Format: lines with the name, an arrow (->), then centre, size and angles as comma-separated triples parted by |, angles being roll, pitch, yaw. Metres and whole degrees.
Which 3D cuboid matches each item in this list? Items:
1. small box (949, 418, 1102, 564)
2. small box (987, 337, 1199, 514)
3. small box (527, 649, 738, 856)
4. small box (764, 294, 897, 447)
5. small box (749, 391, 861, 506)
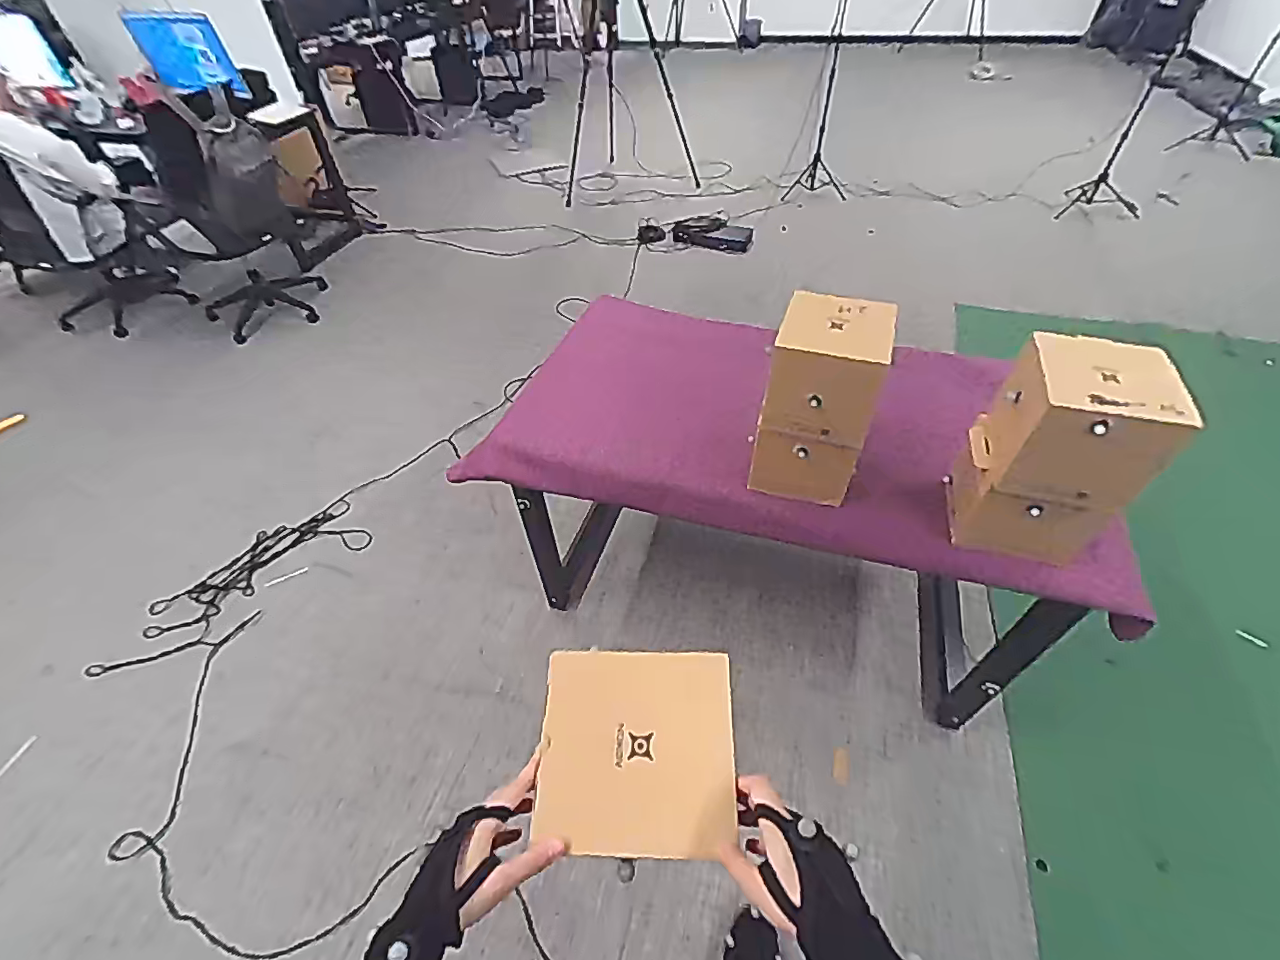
small box -> 0.641, 0.020, 0.912 | 0.179, 0.176, 0.168 | 11, 49, 13
small box -> 0.627, -0.080, 0.782 | 0.168, 0.176, 0.179 | 12, 48, 15
small box -> 0.001, 0.278, 0.552 | 0.179, 0.176, 0.168 | -2, 56, 6
small box -> 0.309, -0.180, 0.895 | 0.168, 0.176, 0.179 | 15, 49, 16
small box -> 0.311, -0.072, 1.019 | 0.179, 0.176, 0.168 | 13, 48, 14
